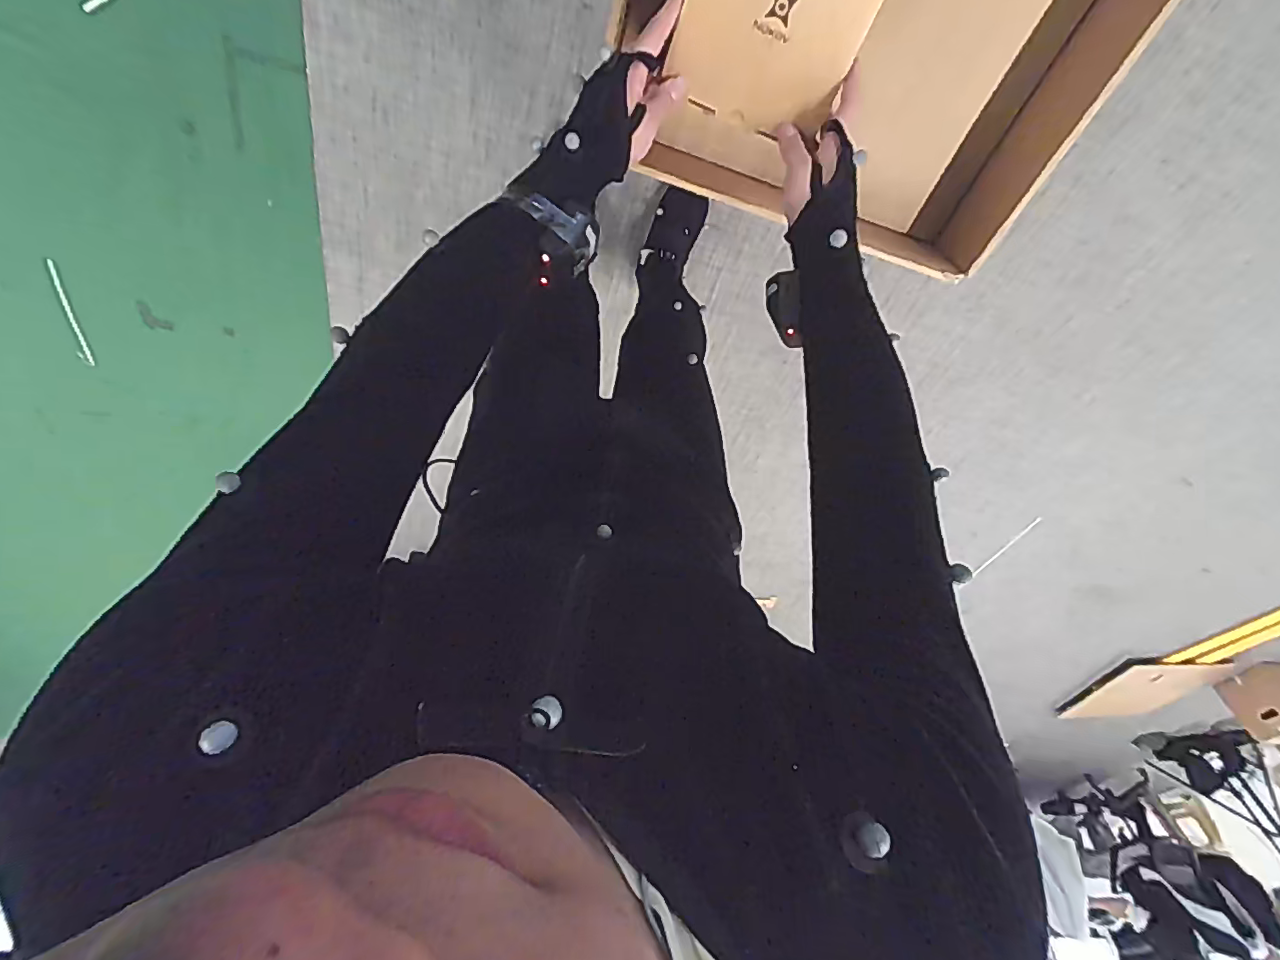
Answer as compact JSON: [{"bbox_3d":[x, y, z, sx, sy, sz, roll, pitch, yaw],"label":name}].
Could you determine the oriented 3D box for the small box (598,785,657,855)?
[{"bbox_3d":[-0.045,1.195,1.899,0.168,0.176,0.179,12,132,-12],"label":"small box"}]

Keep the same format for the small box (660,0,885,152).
[{"bbox_3d":[0.123,-0.466,0.534,0.168,0.176,0.179,14,131,-14],"label":"small box"}]

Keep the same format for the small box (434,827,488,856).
[{"bbox_3d":[-0.609,1.183,1.874,0.168,0.176,0.179,9,131,-12],"label":"small box"}]
